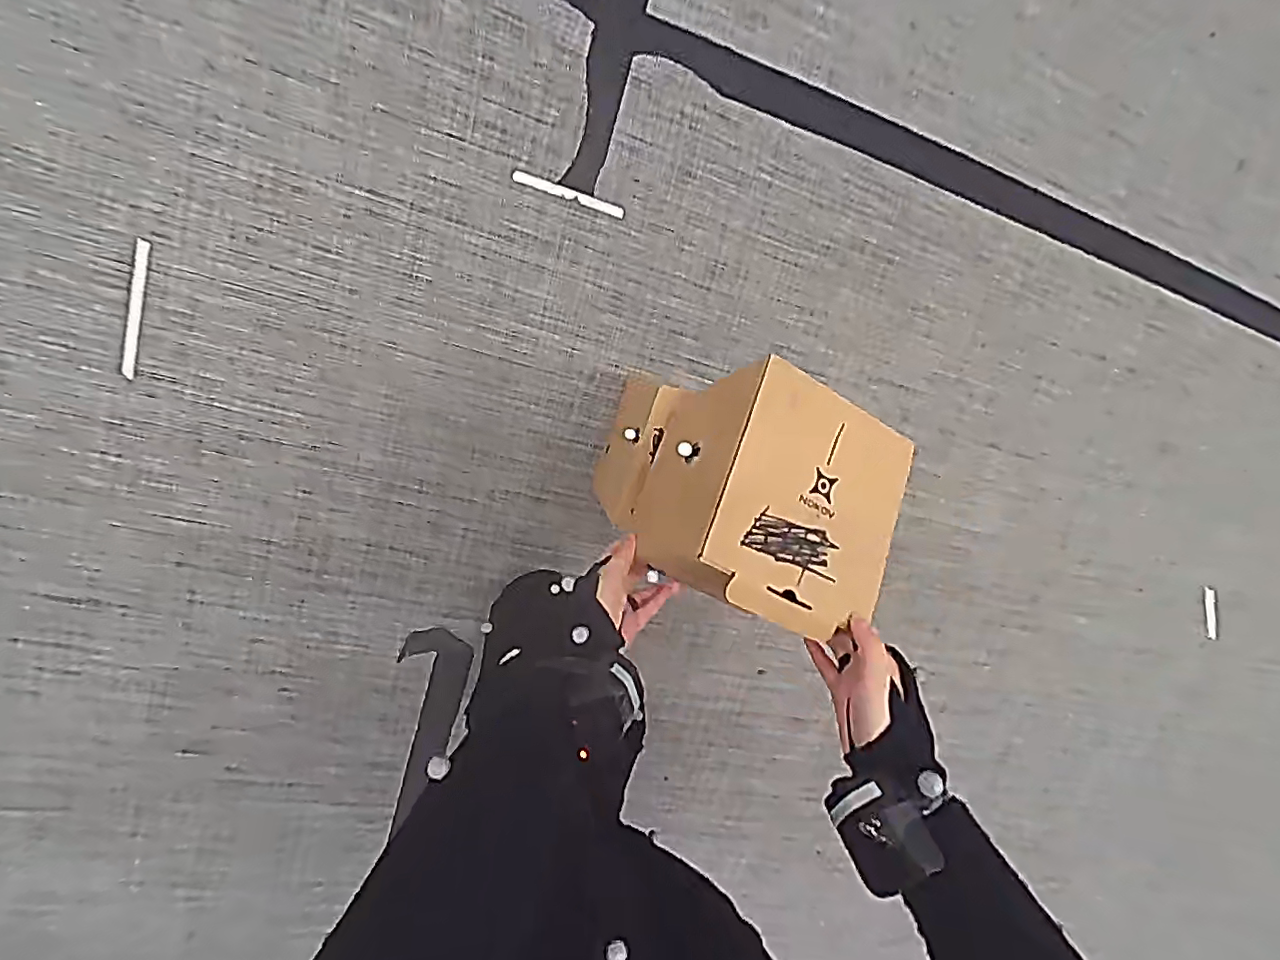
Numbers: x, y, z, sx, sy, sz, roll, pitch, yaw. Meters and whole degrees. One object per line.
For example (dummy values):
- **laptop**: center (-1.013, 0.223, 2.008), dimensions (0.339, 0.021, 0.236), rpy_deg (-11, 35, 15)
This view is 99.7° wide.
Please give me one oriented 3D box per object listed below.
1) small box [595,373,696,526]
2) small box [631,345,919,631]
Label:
- **small box**: center (0.059, -0.028, 0.668), dimensions (0.179, 0.176, 0.168), rpy_deg (16, 100, -17)
- **small box**: center (0.109, 0.015, 0.491), dimensions (0.168, 0.176, 0.179), rpy_deg (26, 75, -18)
